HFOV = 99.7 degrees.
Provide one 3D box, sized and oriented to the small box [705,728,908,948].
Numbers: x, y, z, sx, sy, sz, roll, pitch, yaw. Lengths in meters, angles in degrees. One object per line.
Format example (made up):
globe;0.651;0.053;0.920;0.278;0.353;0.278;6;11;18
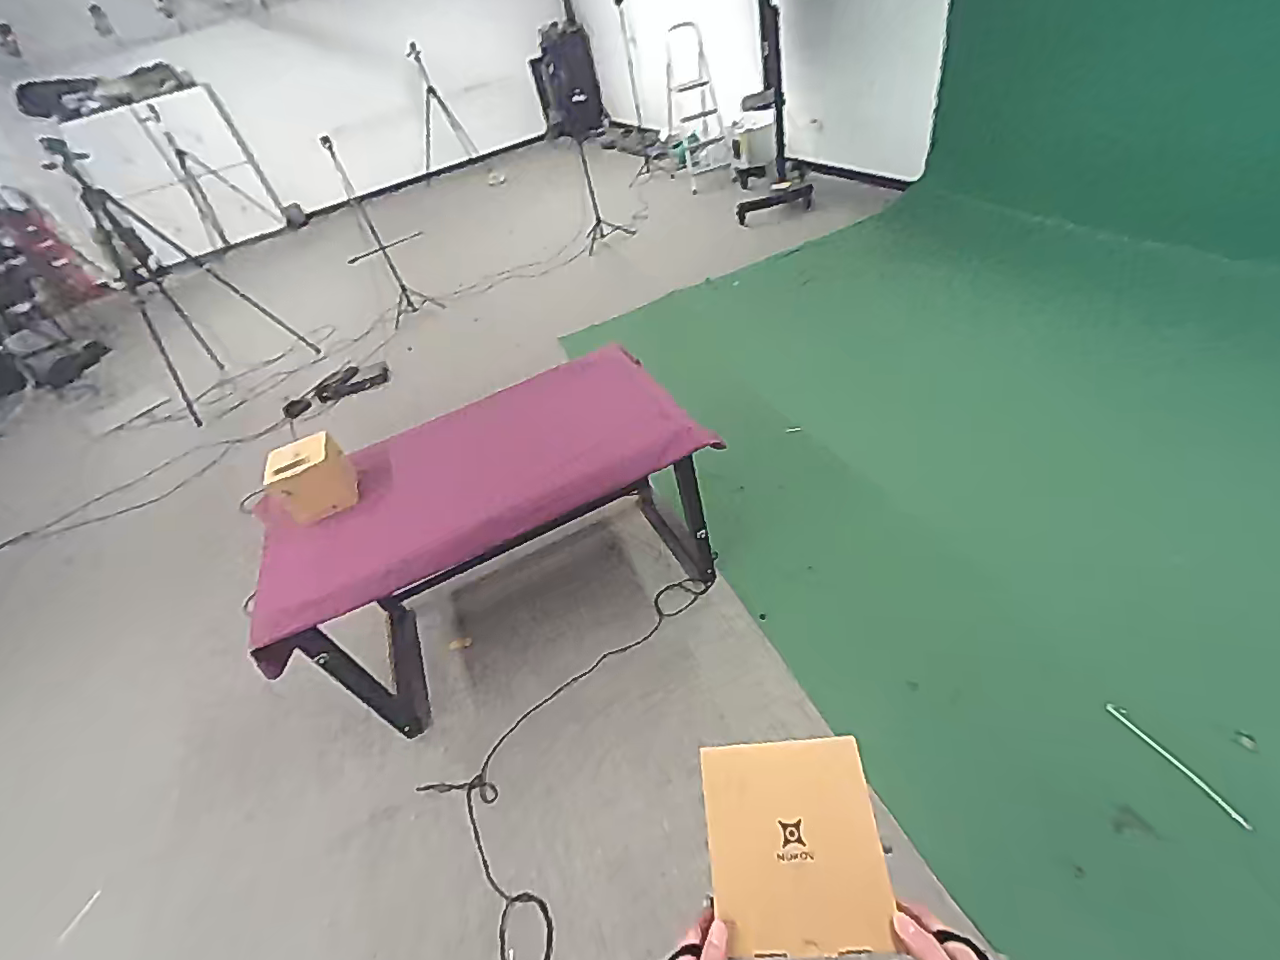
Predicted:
small box;0.162;0.384;0.592;0.168;0.176;0.179;-7;57;5
